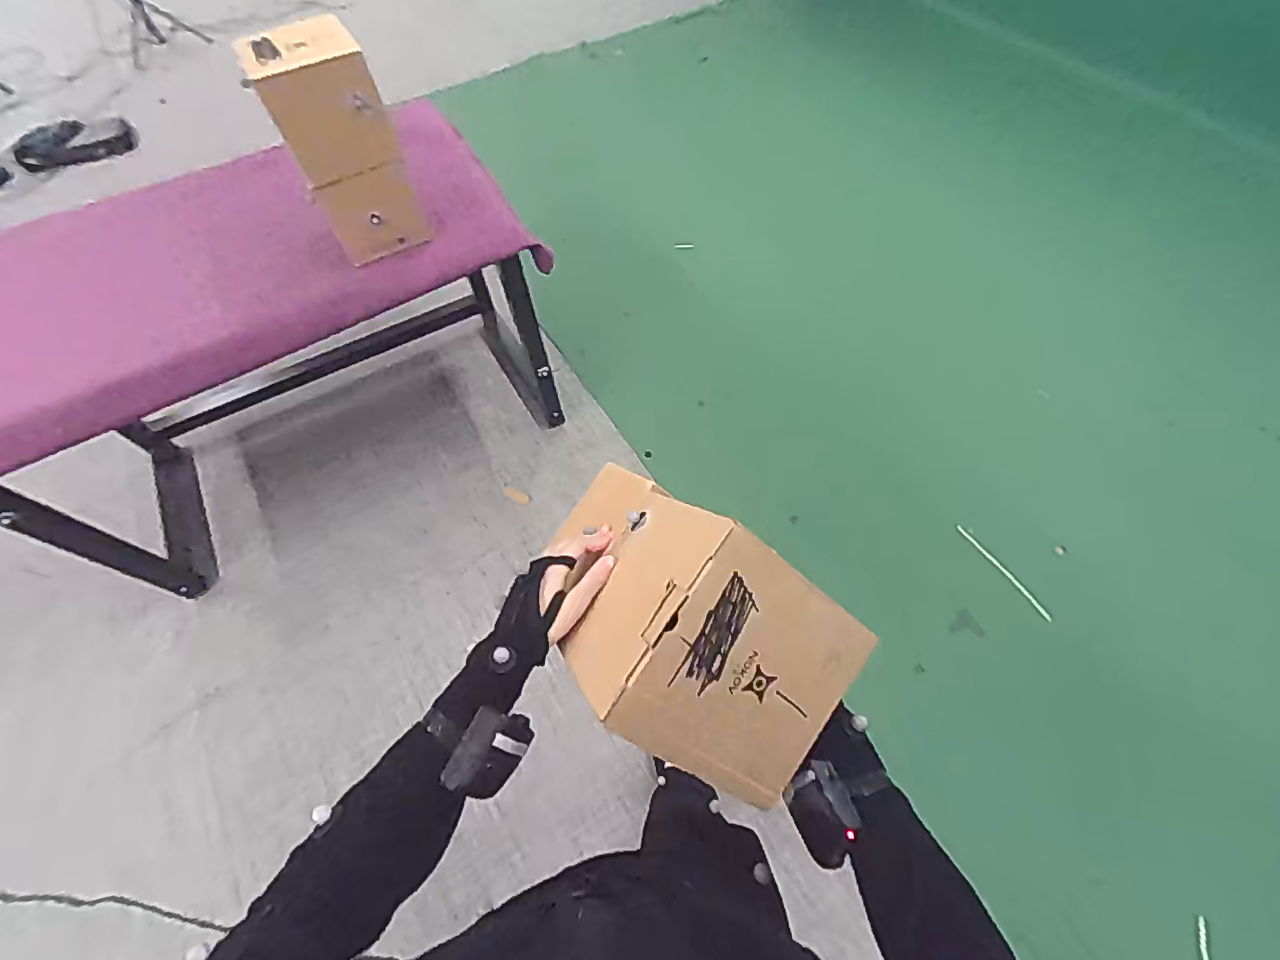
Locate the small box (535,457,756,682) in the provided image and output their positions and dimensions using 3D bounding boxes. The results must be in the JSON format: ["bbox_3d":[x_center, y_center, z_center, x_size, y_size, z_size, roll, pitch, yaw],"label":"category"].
[{"bbox_3d":[-0.007,0.092,0.633,0.168,0.176,0.179,38,84,-21],"label":"small box"}]

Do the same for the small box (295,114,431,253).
[{"bbox_3d":[-0.541,-0.579,1.075,0.168,0.176,0.179,-26,62,-12],"label":"small box"}]
